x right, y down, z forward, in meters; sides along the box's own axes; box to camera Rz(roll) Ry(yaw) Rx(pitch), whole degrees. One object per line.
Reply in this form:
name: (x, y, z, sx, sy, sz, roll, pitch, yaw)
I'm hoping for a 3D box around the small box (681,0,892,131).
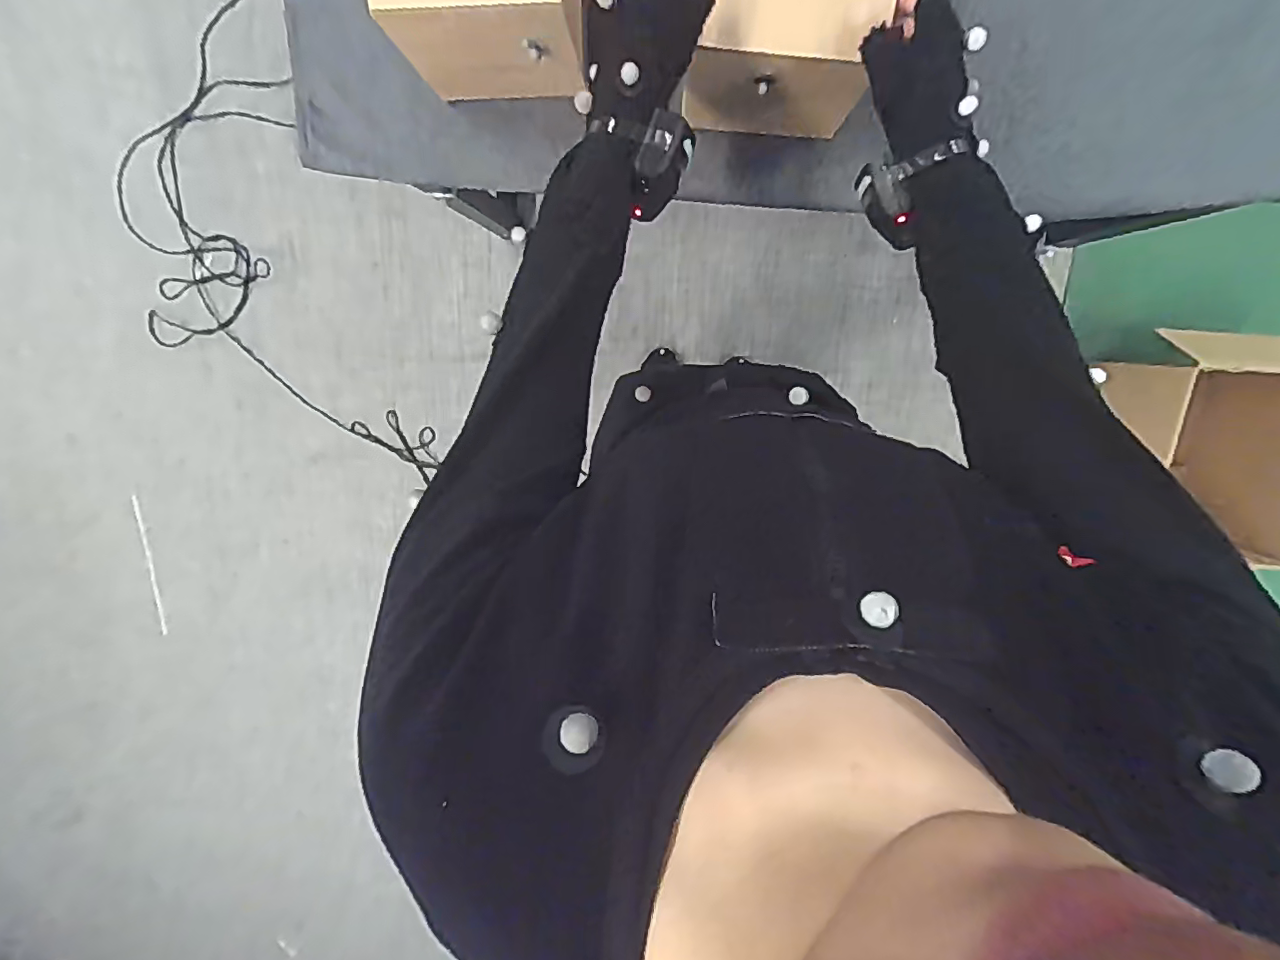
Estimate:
small box: (0.134, -0.464, 0.524, 0.179, 0.176, 0.168, 6, 104, 2)
